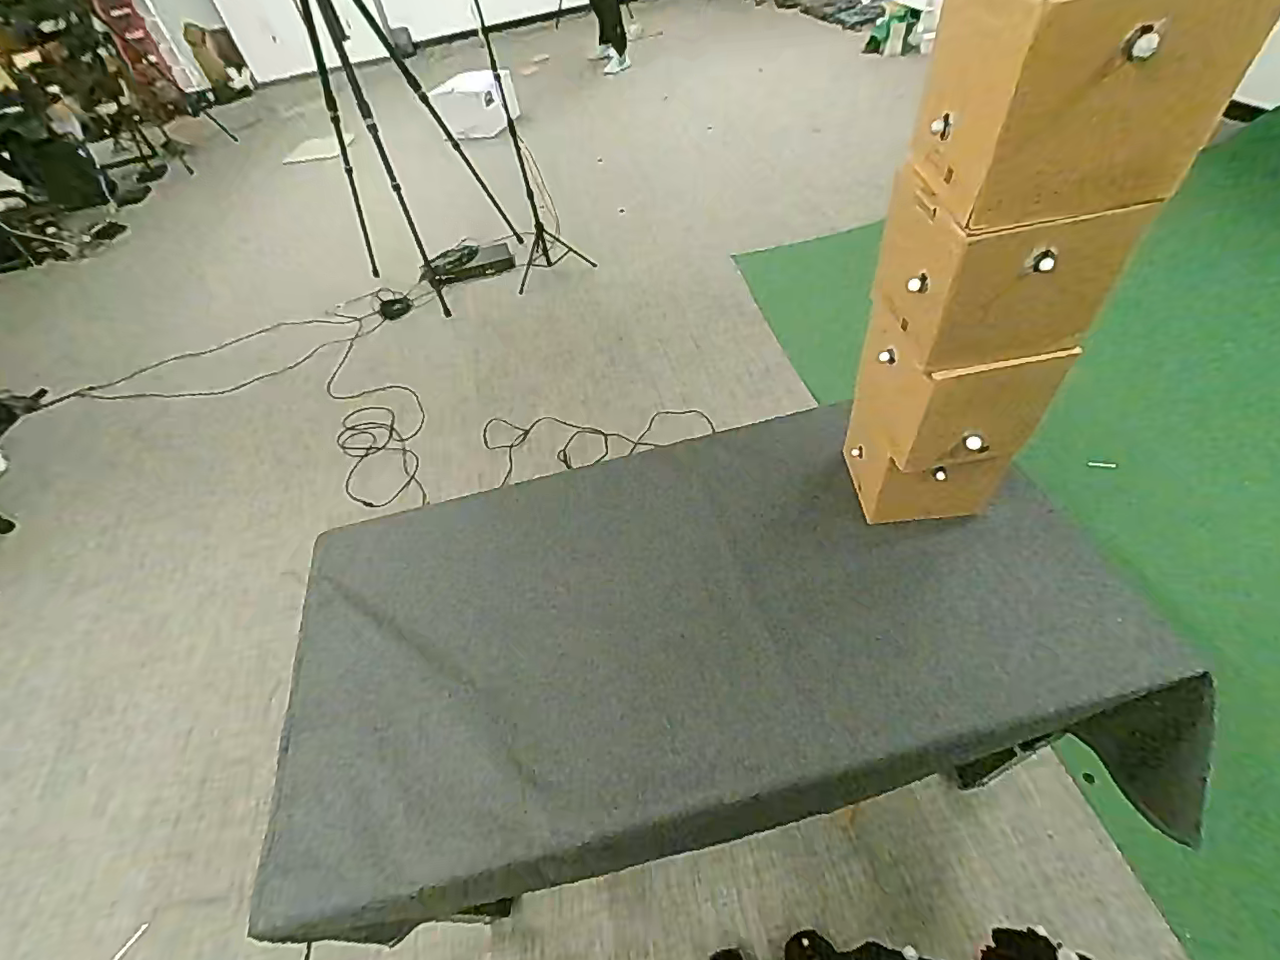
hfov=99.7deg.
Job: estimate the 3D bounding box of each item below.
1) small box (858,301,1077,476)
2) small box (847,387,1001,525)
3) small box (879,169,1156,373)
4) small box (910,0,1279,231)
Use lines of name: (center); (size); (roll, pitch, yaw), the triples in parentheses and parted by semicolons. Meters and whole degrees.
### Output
small box: (0.409, -0.132, 0.717); (0.168, 0.176, 0.179); (-11, 50, 2)
small box: (0.437, -0.042, 0.852); (0.179, 0.176, 0.168); (-5, 50, 6)
small box: (0.382, -0.237, 0.596); (0.179, 0.176, 0.168); (-8, 50, 4)
small box: (0.368, -0.344, 0.474); (0.179, 0.176, 0.168); (-7, 50, 6)
